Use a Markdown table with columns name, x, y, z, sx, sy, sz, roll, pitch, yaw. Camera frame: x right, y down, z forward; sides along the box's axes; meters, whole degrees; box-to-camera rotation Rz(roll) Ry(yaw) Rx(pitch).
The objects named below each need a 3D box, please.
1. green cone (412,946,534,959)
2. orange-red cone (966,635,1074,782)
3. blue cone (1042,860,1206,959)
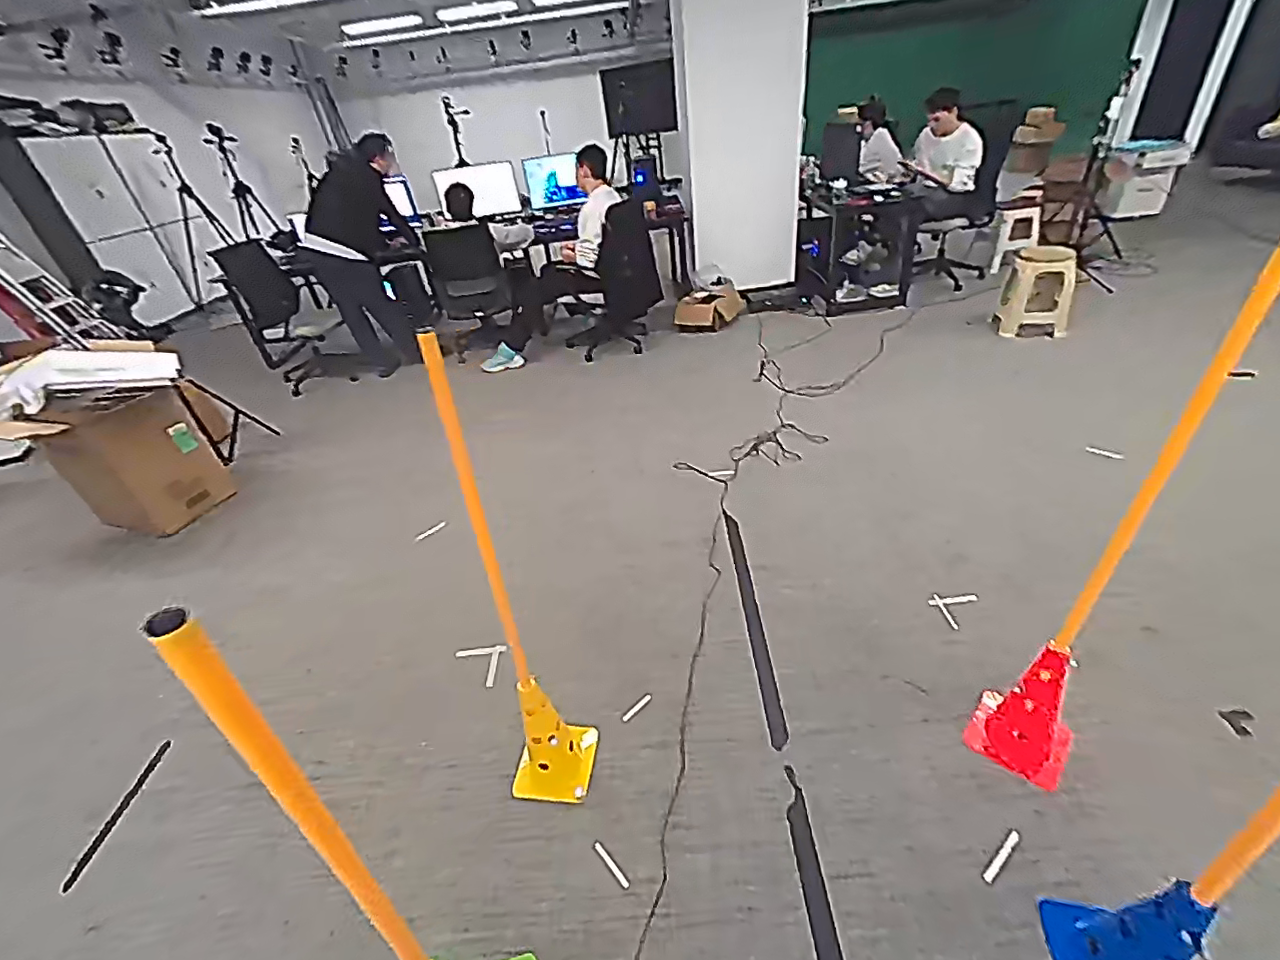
| name | x | y | z | sx | sy | sz | roll | pitch | yaw |
| --- | --- | --- | --- | --- | --- | --- | --- | --- | --- |
| green cone | -0.313 | 0.904 | 0.936 | 0.200 | 0.368 | 0.202 | -14 | 33 | -8 |
| orange-red cone | 0.929 | 0.494 | 1.264 | 0.198 | 0.360 | 0.199 | 23 | 47 | 40 |
| blue cone | 0.860 | 0.758 | 0.914 | 0.193 | 0.380 | 0.192 | 2 | 34 | 16 |
